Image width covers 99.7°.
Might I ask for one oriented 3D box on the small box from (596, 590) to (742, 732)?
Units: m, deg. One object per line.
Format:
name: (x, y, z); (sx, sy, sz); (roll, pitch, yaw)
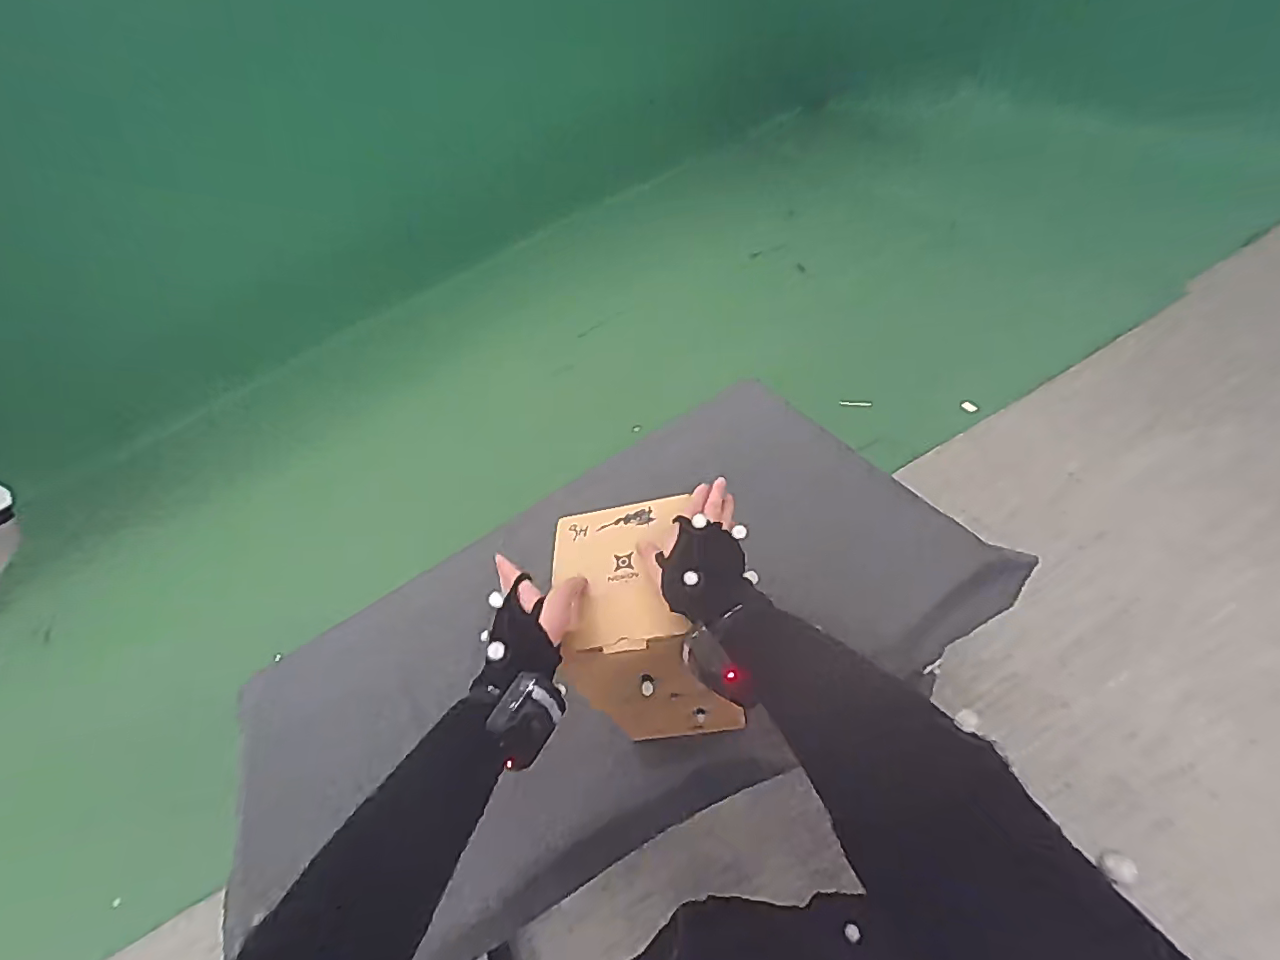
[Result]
small box: (0.043, 0.243, 0.767); (0.168, 0.176, 0.179); (-11, 46, 10)

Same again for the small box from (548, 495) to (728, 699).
small box: (0.004, 0.146, 0.640); (0.168, 0.176, 0.179); (-11, 49, 10)
